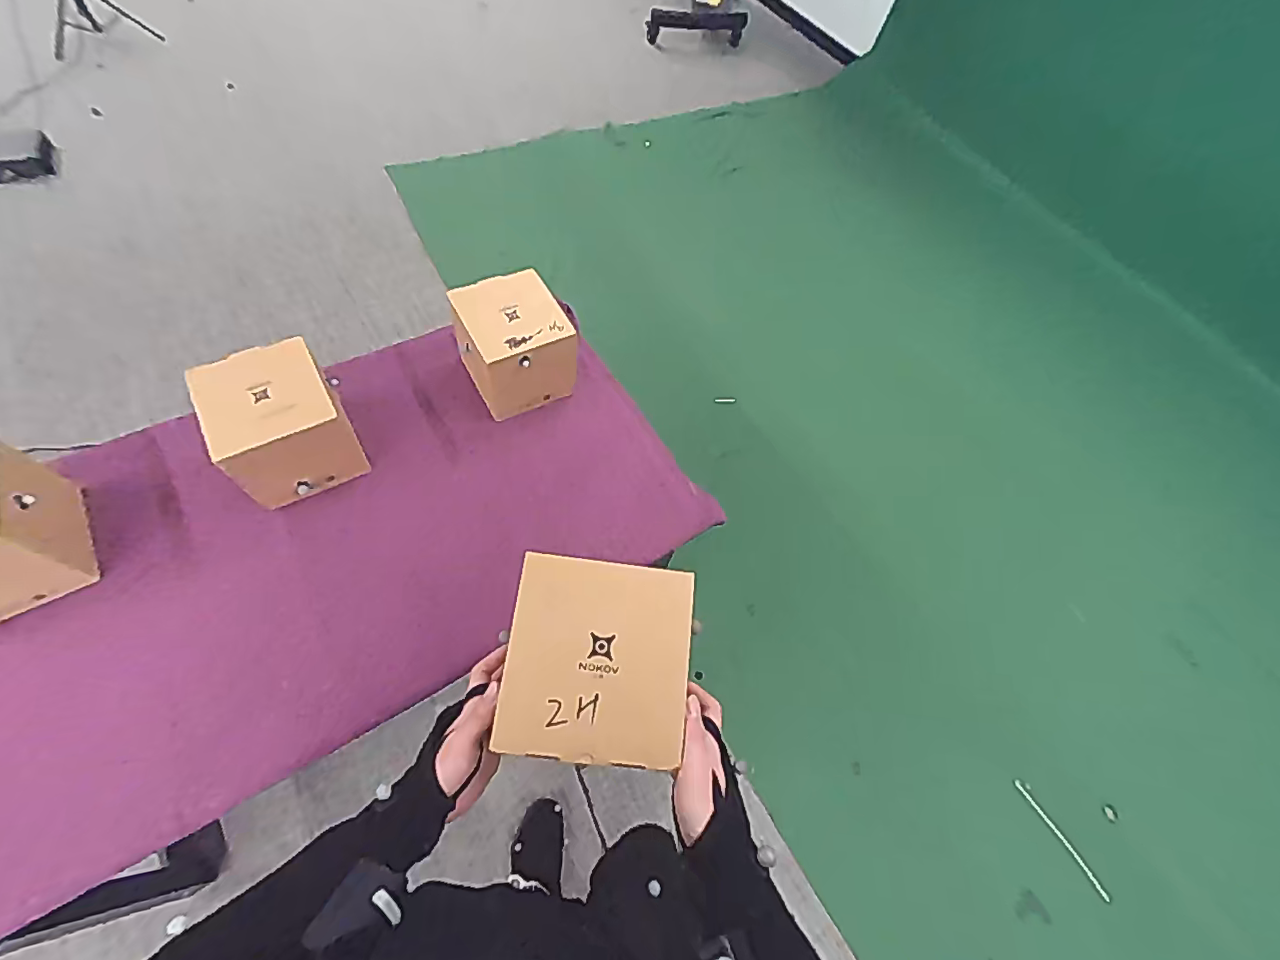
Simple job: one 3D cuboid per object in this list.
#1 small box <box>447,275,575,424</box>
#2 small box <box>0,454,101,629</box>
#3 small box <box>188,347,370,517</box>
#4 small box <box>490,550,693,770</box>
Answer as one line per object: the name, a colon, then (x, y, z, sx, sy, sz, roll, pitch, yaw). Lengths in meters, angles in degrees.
small box: (-0.231, -0.235, 0.991, 0.168, 0.176, 0.179, -26, 67, -19)
small box: (-0.880, 0.091, 0.720, 0.168, 0.176, 0.179, -28, 67, -21)
small box: (-0.560, -0.072, 0.858, 0.168, 0.176, 0.179, -27, 68, -20)
small box: (-0.045, 0.187, 0.561, 0.168, 0.176, 0.179, 7, 68, -2)
